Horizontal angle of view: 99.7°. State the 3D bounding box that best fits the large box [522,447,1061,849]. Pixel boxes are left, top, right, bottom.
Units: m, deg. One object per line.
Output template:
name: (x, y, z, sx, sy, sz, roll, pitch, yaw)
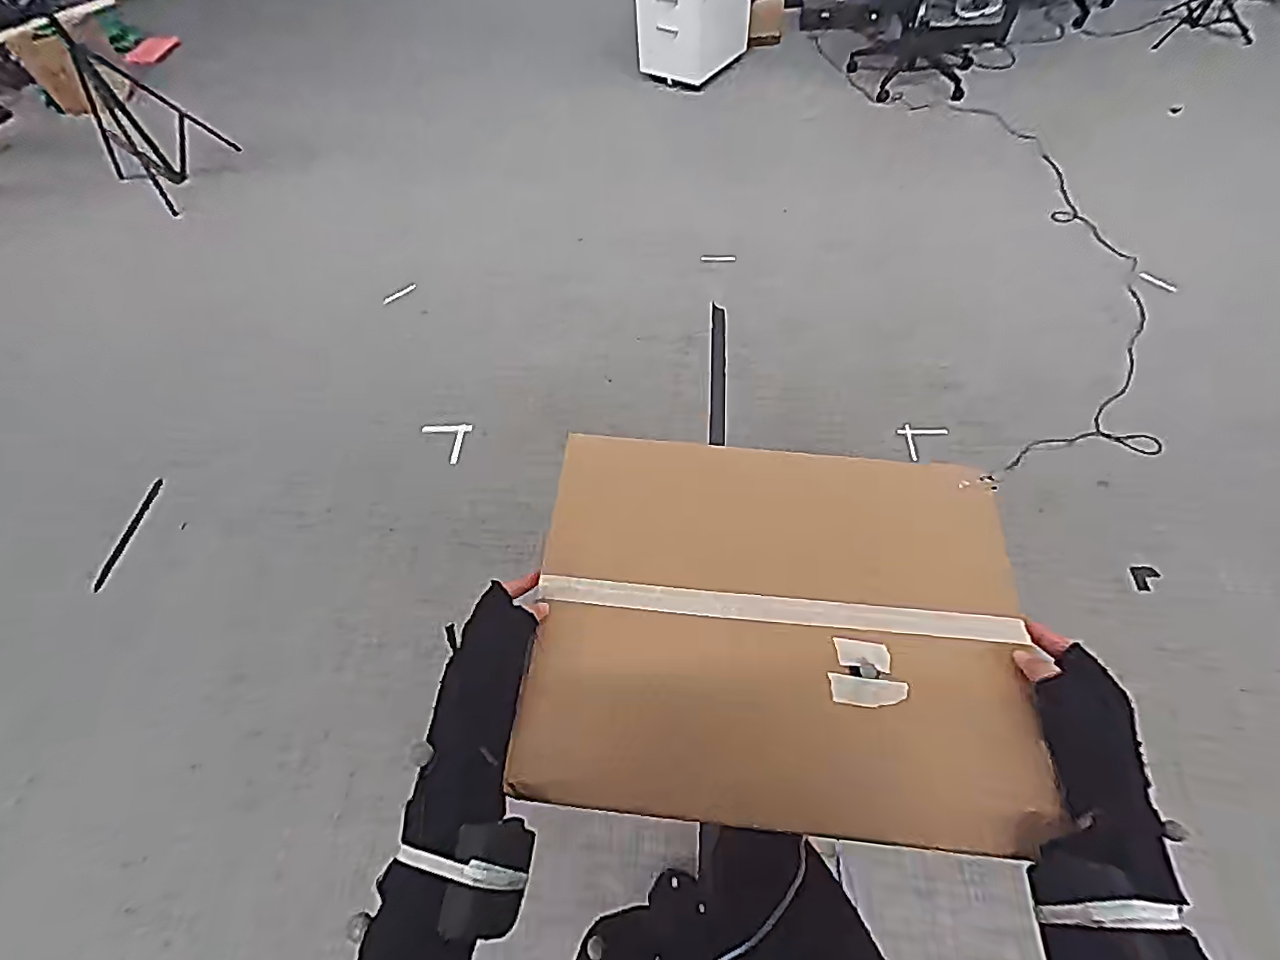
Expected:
large box: (0.119, 0.185, 0.596, 0.408, 0.320, 0.320, 5, 63, 3)
